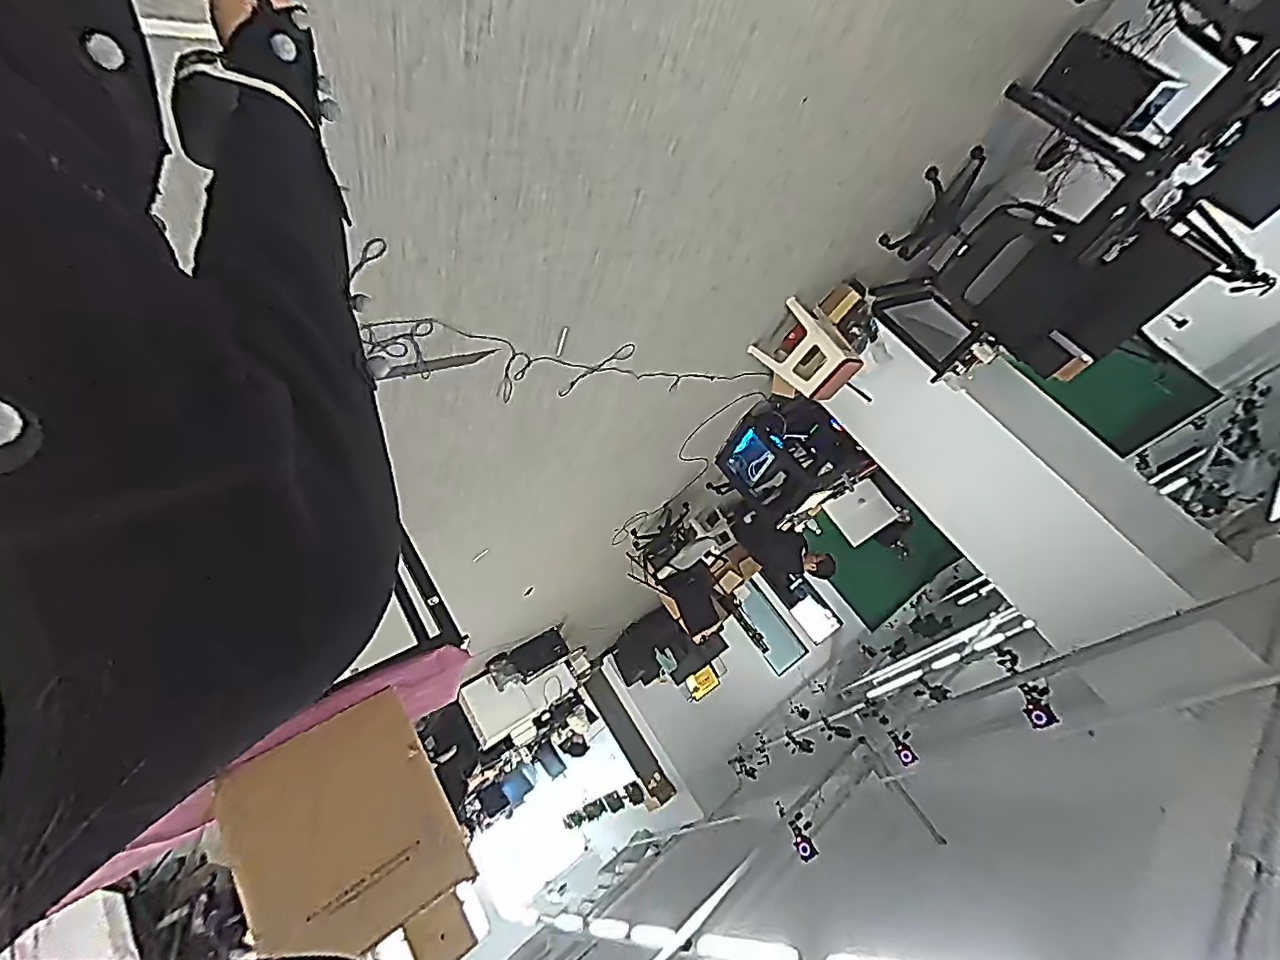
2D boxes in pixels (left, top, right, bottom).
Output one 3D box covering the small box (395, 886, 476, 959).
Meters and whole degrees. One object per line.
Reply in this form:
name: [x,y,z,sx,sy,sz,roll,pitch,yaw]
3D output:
small box: [-0.639,1.413,1.678,0.179,0.176,0.168,-22,157,-39]
